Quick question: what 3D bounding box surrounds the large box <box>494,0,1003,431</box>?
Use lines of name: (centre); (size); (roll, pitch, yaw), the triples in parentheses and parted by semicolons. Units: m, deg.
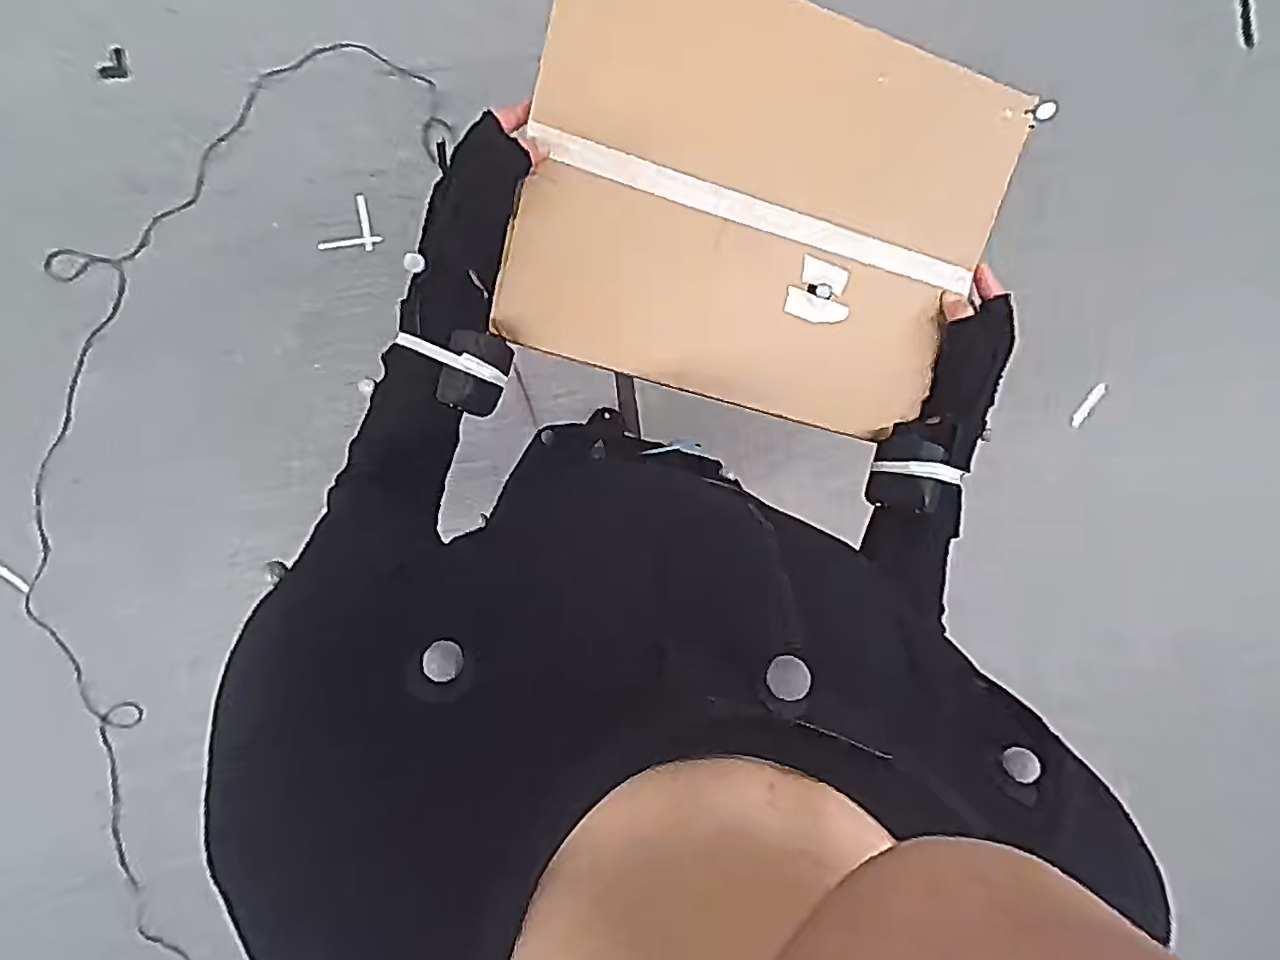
large box: (0.075, -0.266, 0.614); (0.408, 0.320, 0.320); (12, 104, -11)
